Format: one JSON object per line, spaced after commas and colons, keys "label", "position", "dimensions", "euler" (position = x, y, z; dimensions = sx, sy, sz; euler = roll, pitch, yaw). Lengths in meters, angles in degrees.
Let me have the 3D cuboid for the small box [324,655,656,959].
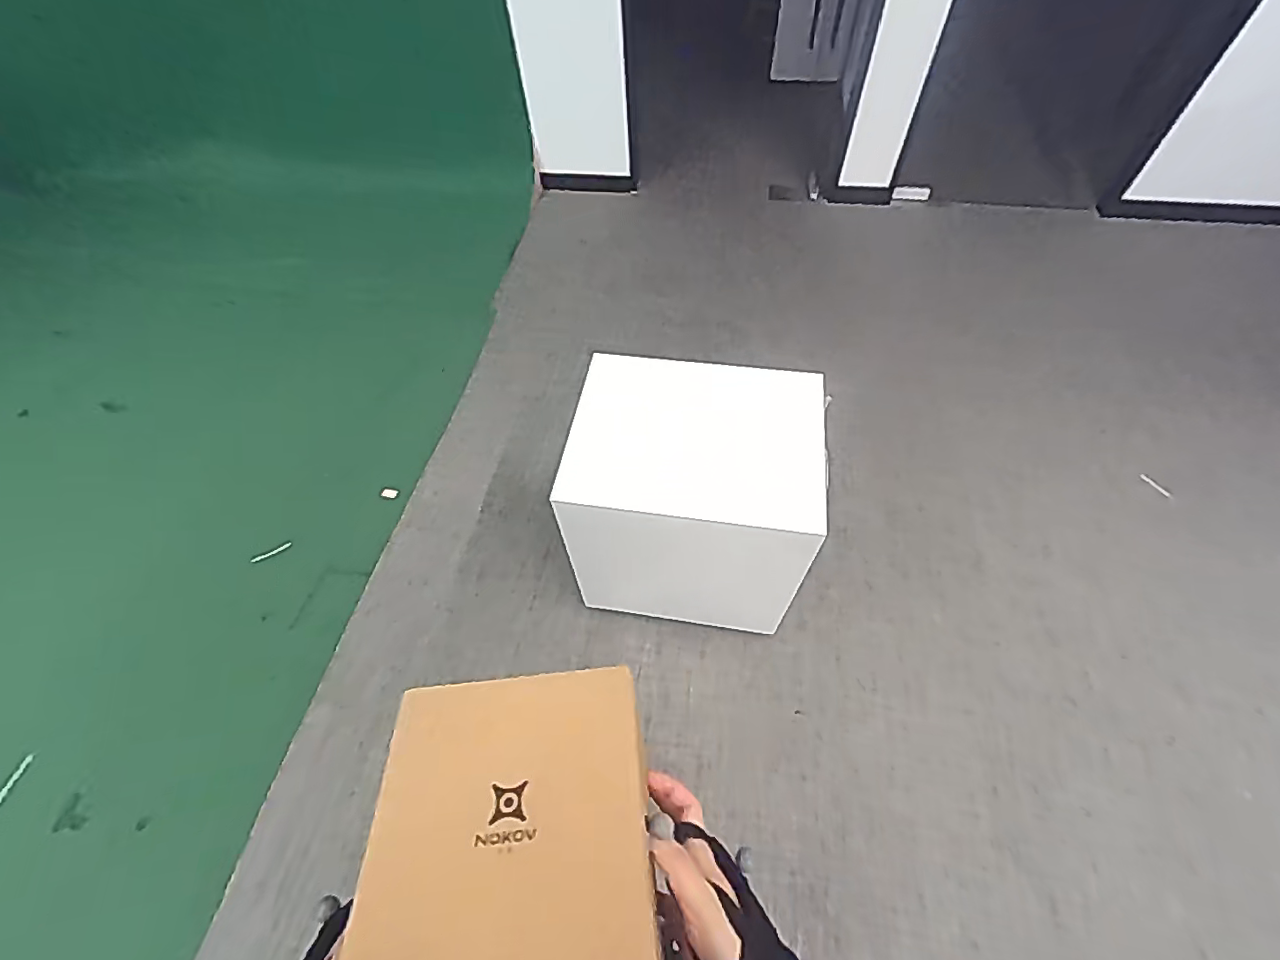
{"label": "small box", "position": [-0.078, 0.249, 0.375], "dimensions": [0.168, 0.176, 0.179], "euler": [-6, 42, -2]}
